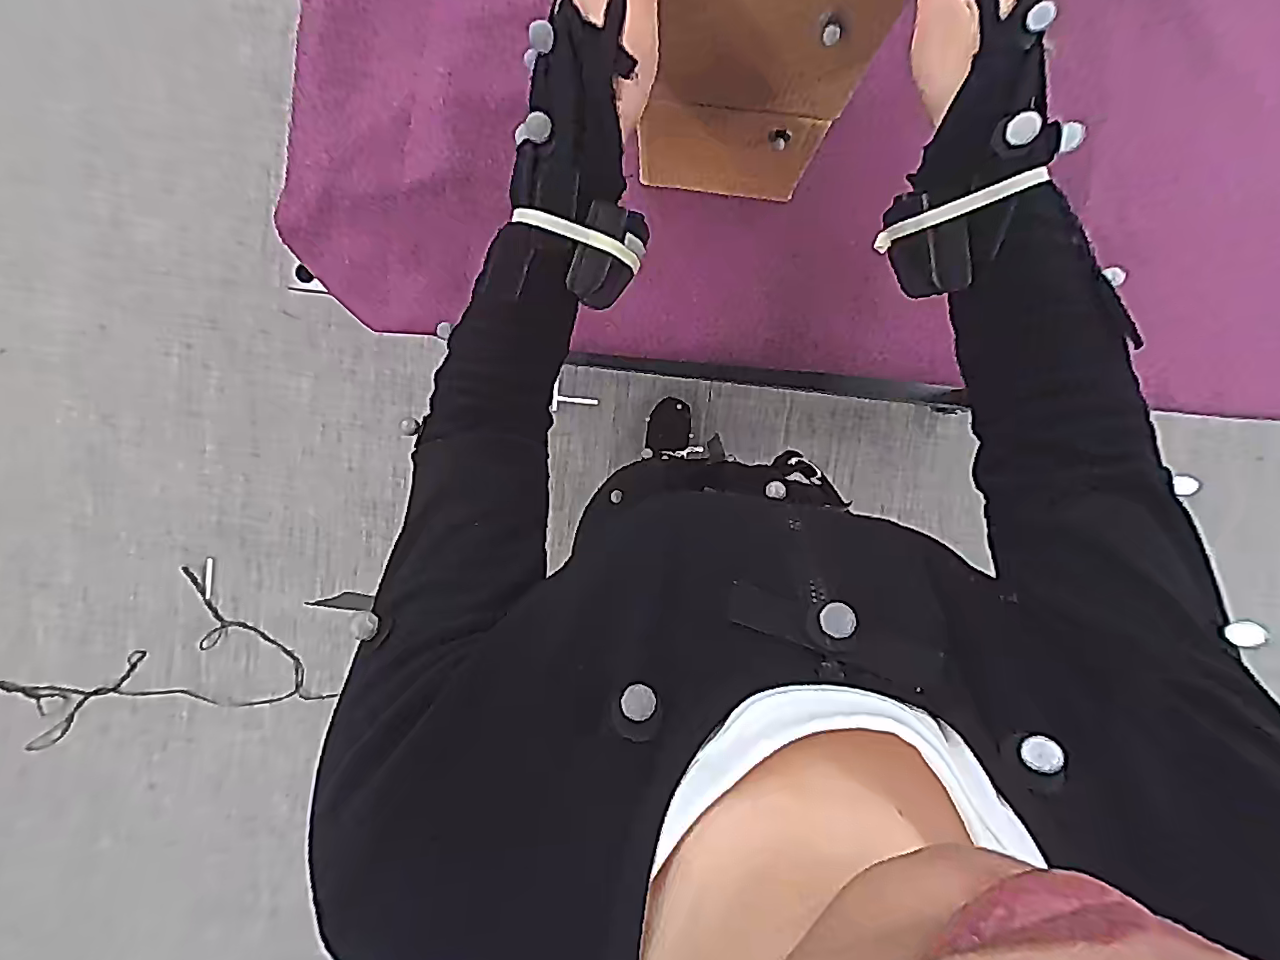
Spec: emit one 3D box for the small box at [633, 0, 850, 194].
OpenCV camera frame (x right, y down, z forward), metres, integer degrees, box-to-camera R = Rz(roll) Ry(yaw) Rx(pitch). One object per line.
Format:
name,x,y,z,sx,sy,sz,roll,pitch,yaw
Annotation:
small box,0.092,-0.410,0.537,0.179,0.176,0.168,7,95,0
